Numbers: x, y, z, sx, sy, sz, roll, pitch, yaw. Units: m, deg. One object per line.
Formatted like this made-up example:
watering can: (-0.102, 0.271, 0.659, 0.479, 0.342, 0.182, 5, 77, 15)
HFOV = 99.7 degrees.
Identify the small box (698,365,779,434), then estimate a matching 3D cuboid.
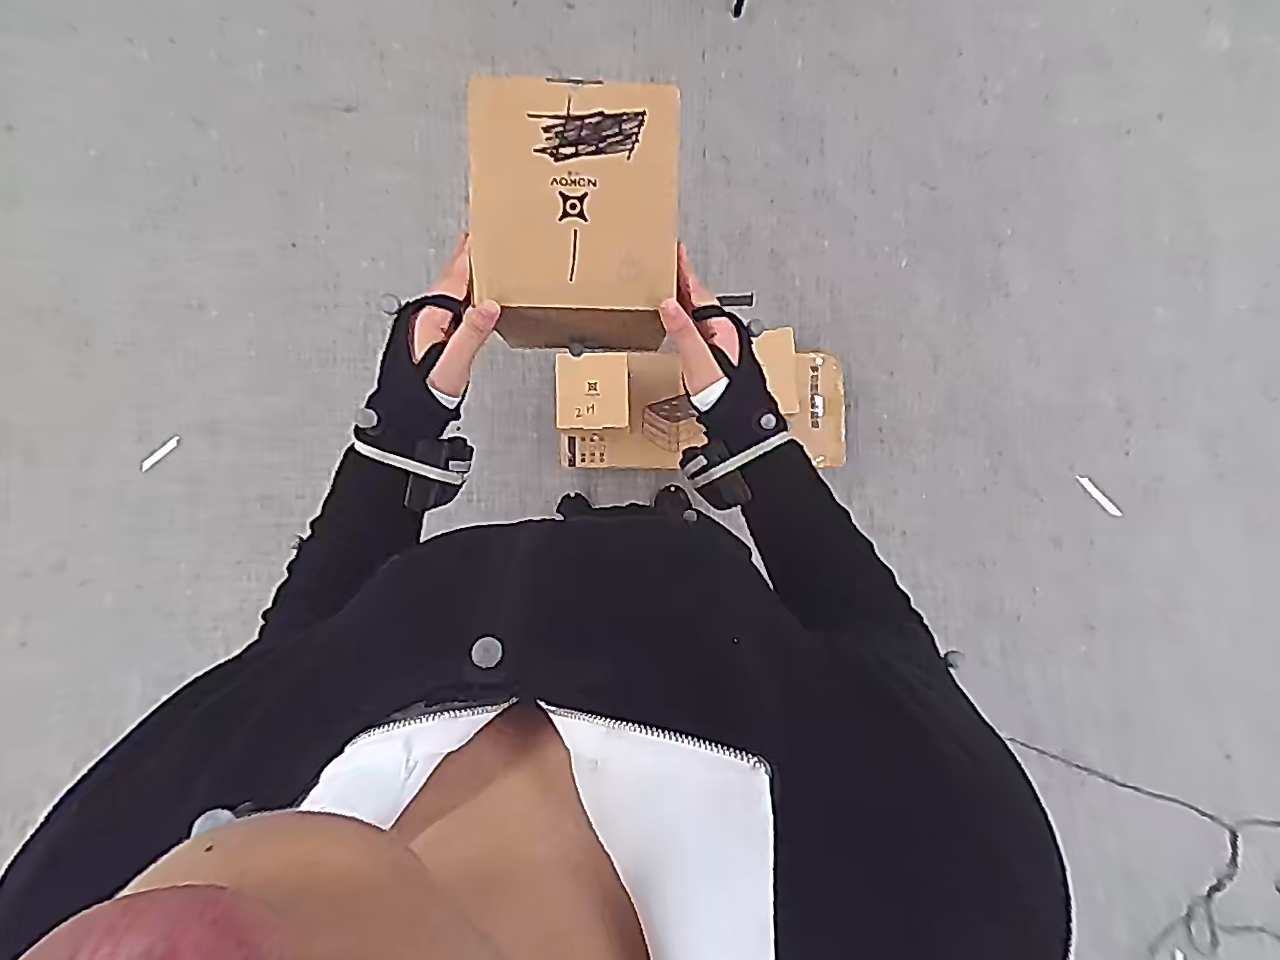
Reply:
small box: (0.236, -0.205, 1.322, 0.168, 0.176, 0.179, -2, 90, -2)

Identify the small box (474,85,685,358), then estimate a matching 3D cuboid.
small box: (-0.052, -0.222, 0.508, 0.168, 0.176, 0.179, 1, 92, -3)

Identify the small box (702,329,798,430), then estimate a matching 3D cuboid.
small box: (0.228, -0.209, 1.160, 0.168, 0.176, 0.179, -5, 89, 0)

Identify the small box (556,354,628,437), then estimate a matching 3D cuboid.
small box: (-0.113, -0.201, 1.317, 0.168, 0.176, 0.179, -1, 89, -1)
